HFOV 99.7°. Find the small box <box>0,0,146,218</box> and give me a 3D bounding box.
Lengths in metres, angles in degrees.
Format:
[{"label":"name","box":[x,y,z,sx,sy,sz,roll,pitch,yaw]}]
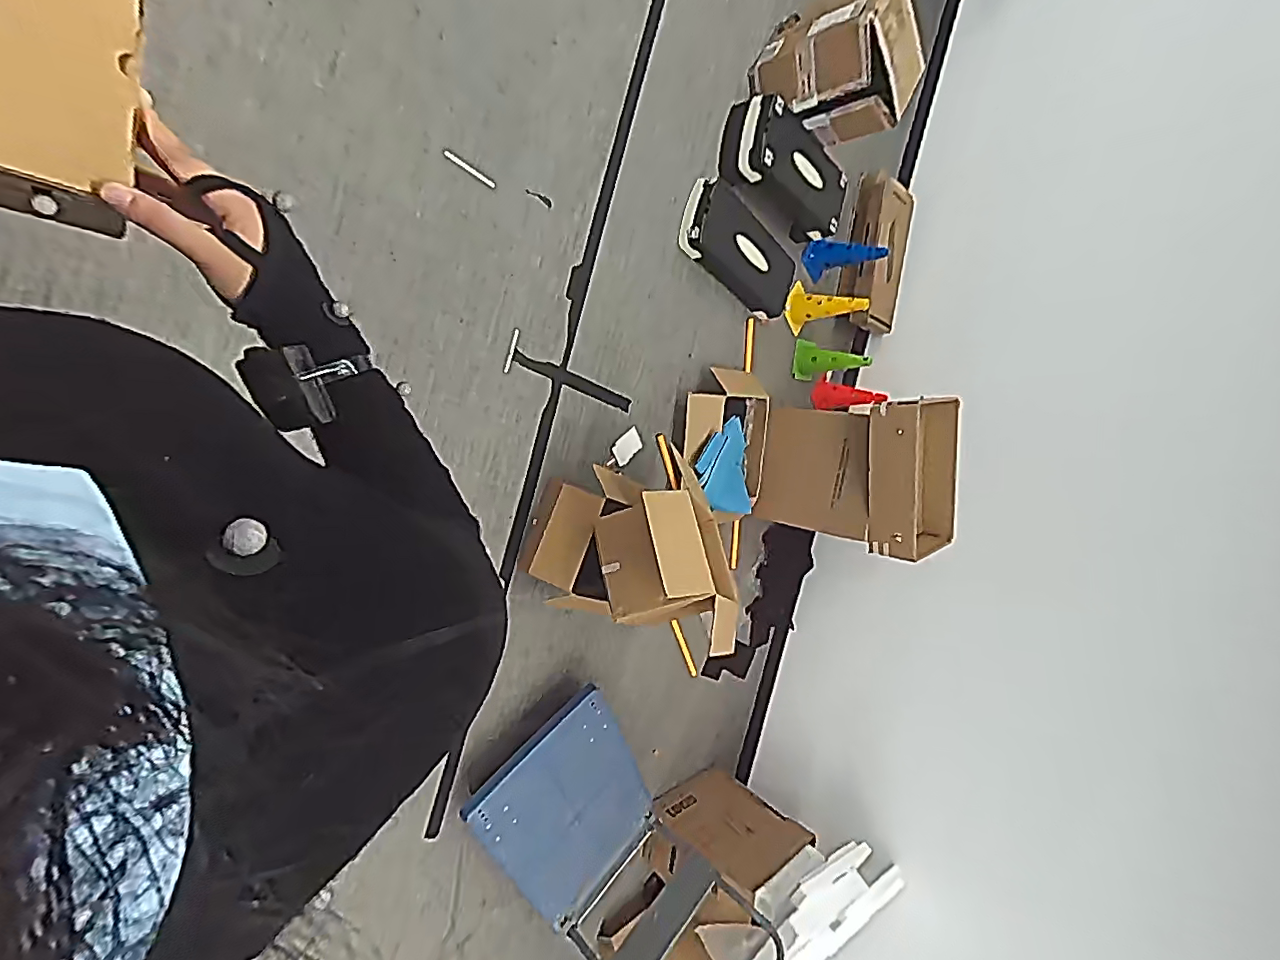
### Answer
[{"label":"small box","box":[-0.424,-0.279,0.327,0.179,0.176,0.168,3,98,-47]}]
